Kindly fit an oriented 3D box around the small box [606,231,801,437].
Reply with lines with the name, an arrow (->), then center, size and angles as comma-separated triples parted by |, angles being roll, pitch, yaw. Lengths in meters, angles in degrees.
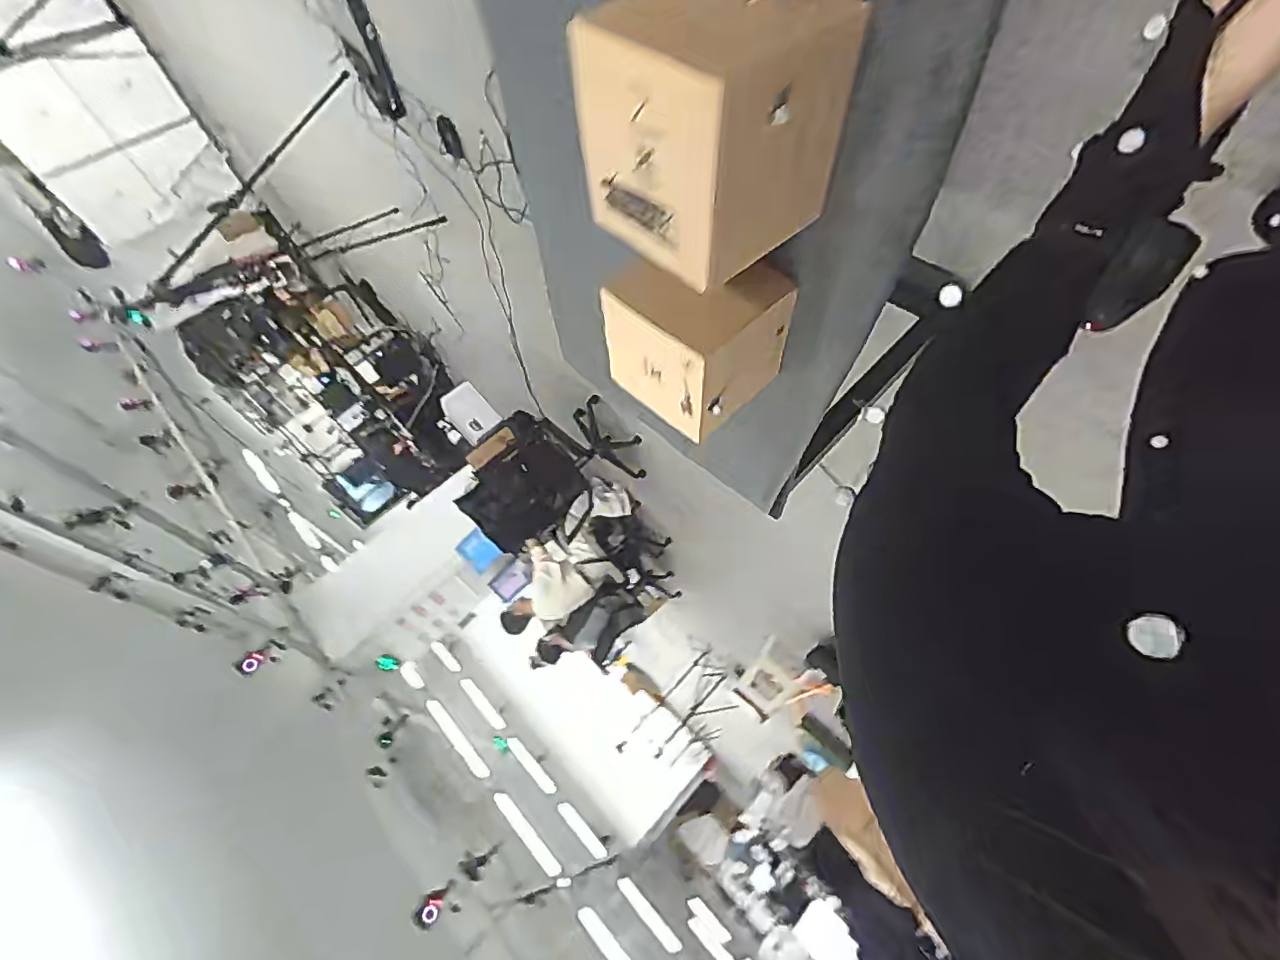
small box -> 0.079, -0.198, 0.716 | 0.179, 0.176, 0.168 | 43, 161, 23
